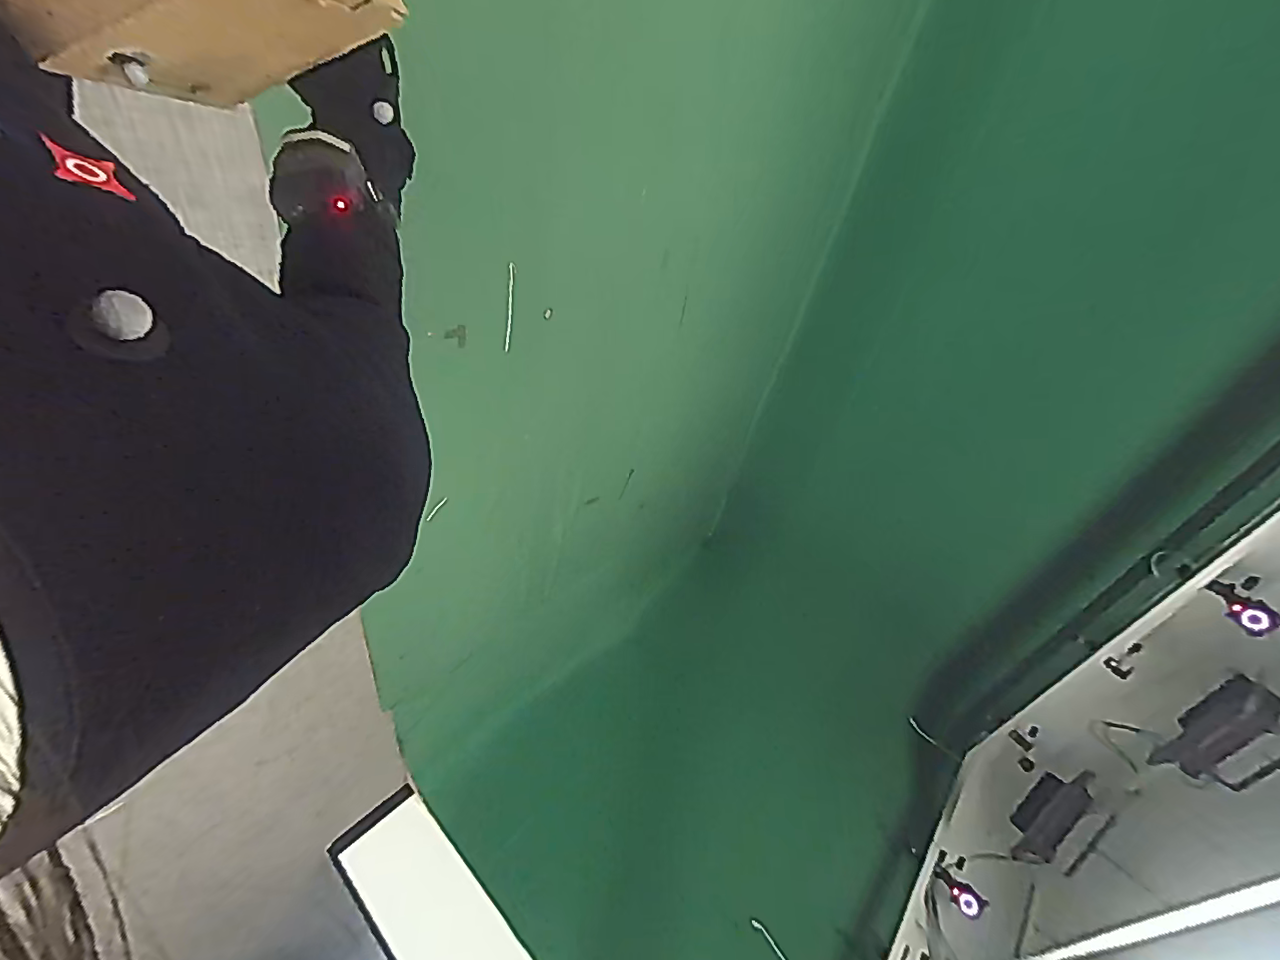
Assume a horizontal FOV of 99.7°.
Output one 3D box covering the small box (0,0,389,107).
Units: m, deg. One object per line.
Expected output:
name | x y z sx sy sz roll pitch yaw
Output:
small box | -0.296 -0.357 0.320 0.176 0.168 0.179 -19 116 7
